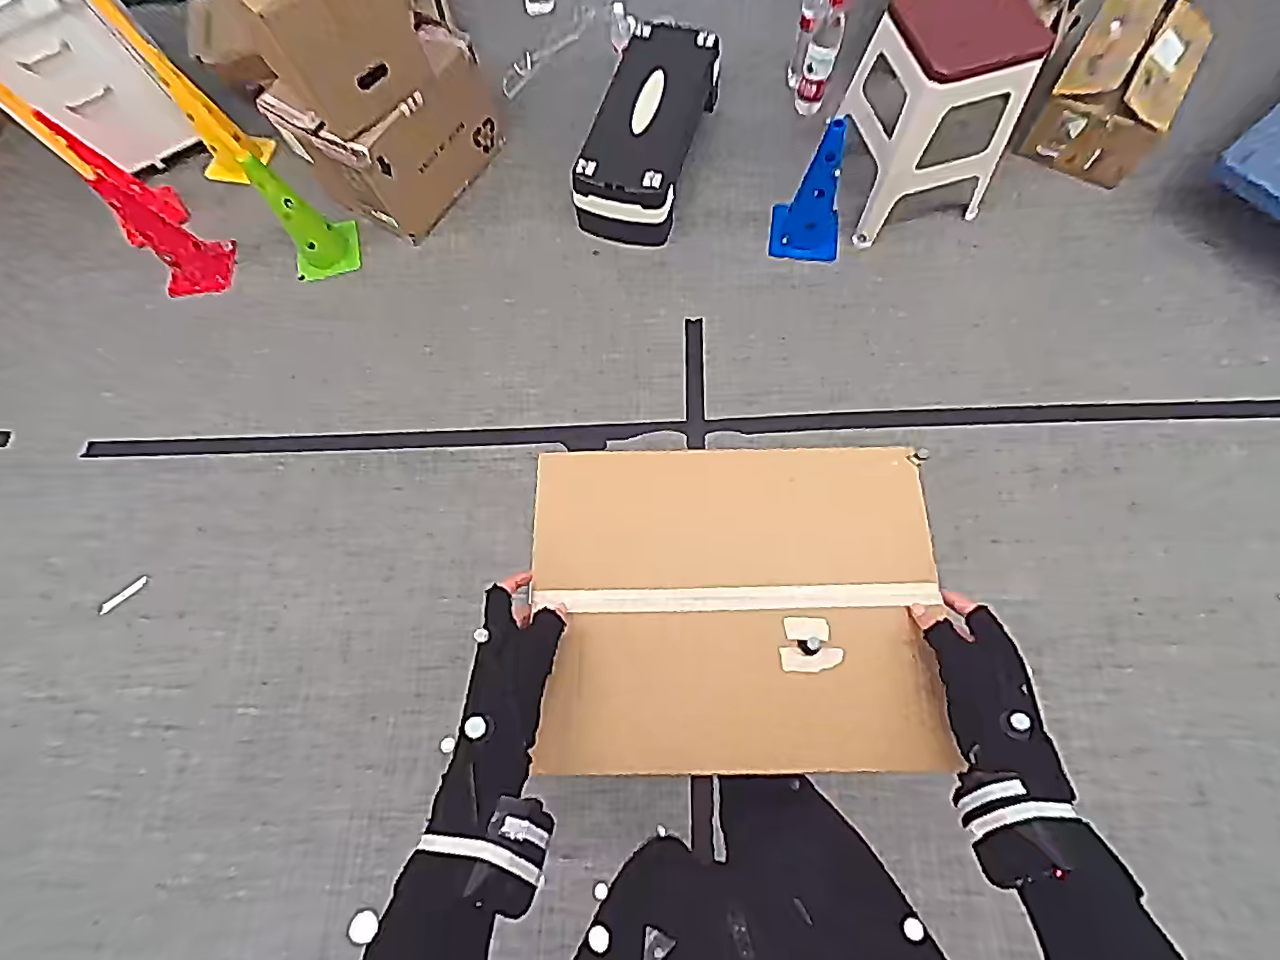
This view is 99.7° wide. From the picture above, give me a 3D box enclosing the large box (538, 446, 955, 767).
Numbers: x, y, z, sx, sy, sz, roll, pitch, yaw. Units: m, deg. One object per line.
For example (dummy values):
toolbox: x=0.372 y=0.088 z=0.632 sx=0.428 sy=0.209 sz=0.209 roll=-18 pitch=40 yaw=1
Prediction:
large box: x=0.095 y=0.161 z=0.694 sx=0.408 sy=0.320 sz=0.320 roll=-1 pitch=73 yaw=0
